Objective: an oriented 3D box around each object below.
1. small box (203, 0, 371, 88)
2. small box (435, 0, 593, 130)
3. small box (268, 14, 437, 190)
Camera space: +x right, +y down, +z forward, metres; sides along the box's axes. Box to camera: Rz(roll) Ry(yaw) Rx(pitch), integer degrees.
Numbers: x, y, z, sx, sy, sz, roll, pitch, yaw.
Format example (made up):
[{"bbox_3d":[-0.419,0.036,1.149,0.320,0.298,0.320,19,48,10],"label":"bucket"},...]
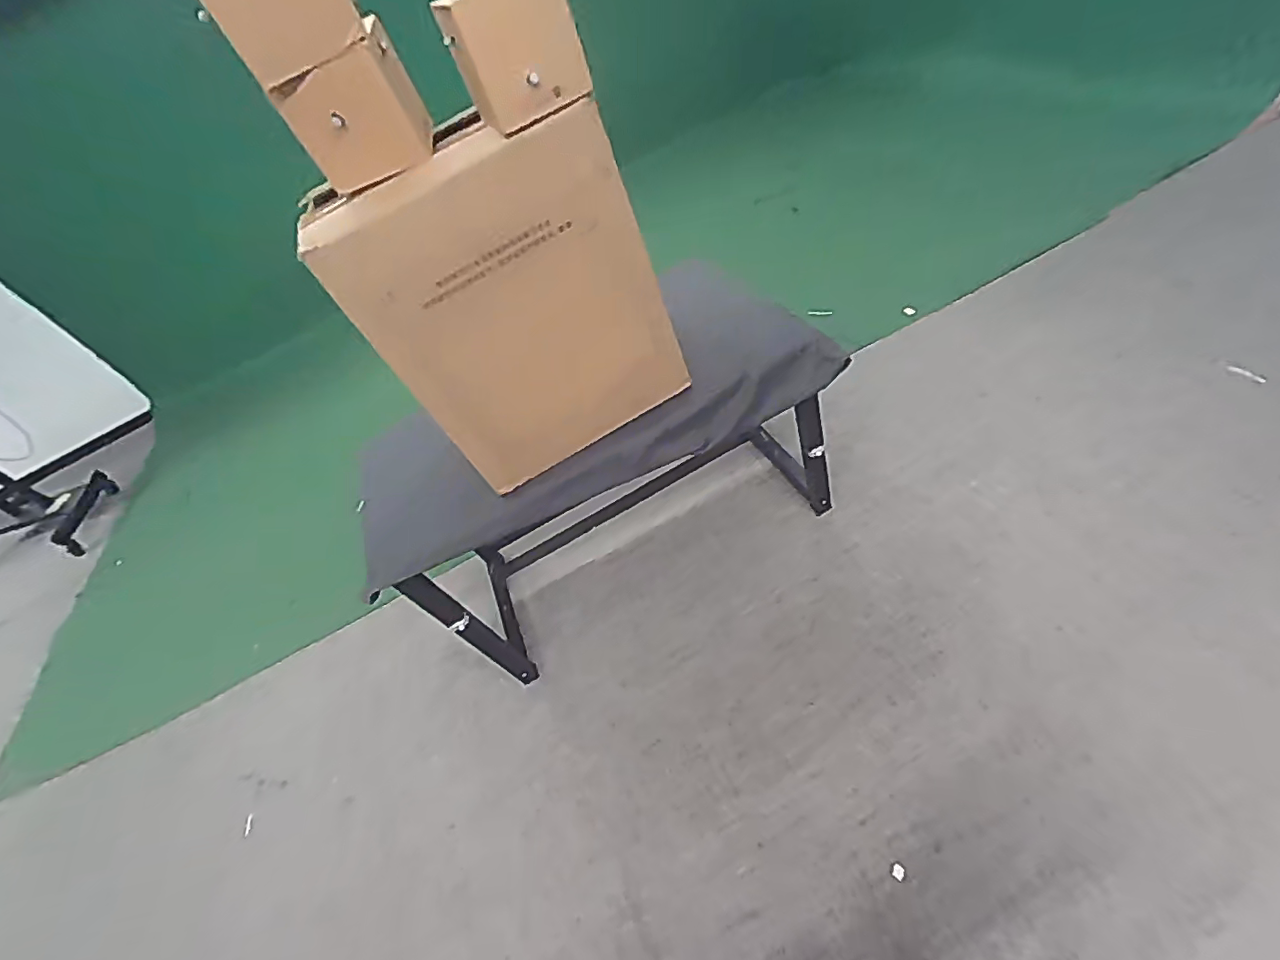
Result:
[{"bbox_3d":[-0.526,-0.702,0.775,0.179,0.176,0.168,-33,55,-6],"label":"small box"},{"bbox_3d":[-0.198,-0.688,0.859,0.168,0.176,0.179,-30,47,-4],"label":"small box"},{"bbox_3d":[-0.467,-0.623,0.904,0.179,0.176,0.168,-20,55,6],"label":"small box"}]
